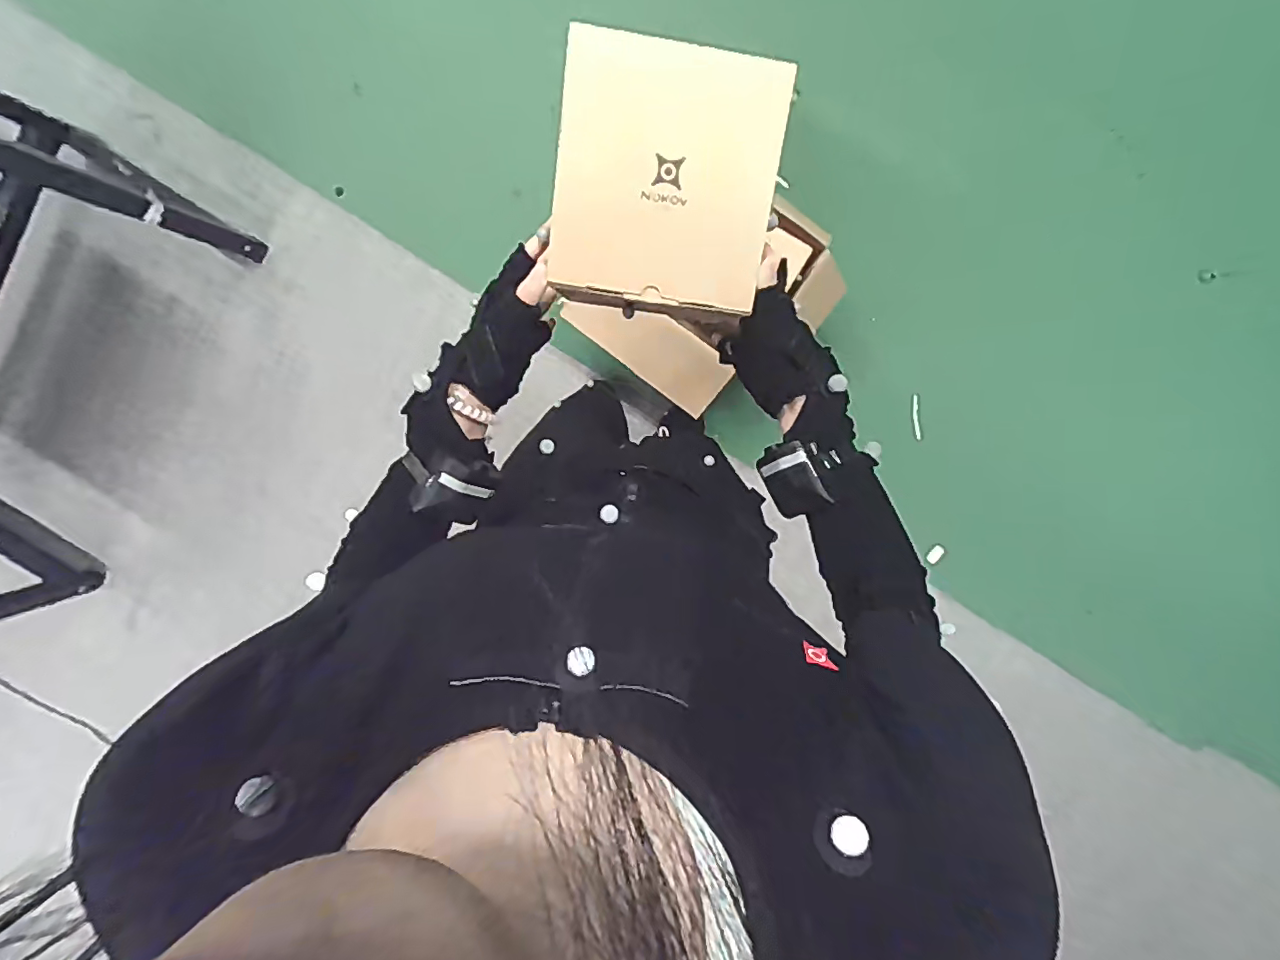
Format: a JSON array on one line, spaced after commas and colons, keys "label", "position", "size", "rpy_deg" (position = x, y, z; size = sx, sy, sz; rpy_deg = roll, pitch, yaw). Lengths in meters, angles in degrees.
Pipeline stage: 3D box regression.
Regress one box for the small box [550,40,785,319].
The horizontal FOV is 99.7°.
[{"label": "small box", "position": [0.013, -0.248, 0.495], "size": [0.168, 0.176, 0.179], "rpy_deg": [6, 106, -5]}]
